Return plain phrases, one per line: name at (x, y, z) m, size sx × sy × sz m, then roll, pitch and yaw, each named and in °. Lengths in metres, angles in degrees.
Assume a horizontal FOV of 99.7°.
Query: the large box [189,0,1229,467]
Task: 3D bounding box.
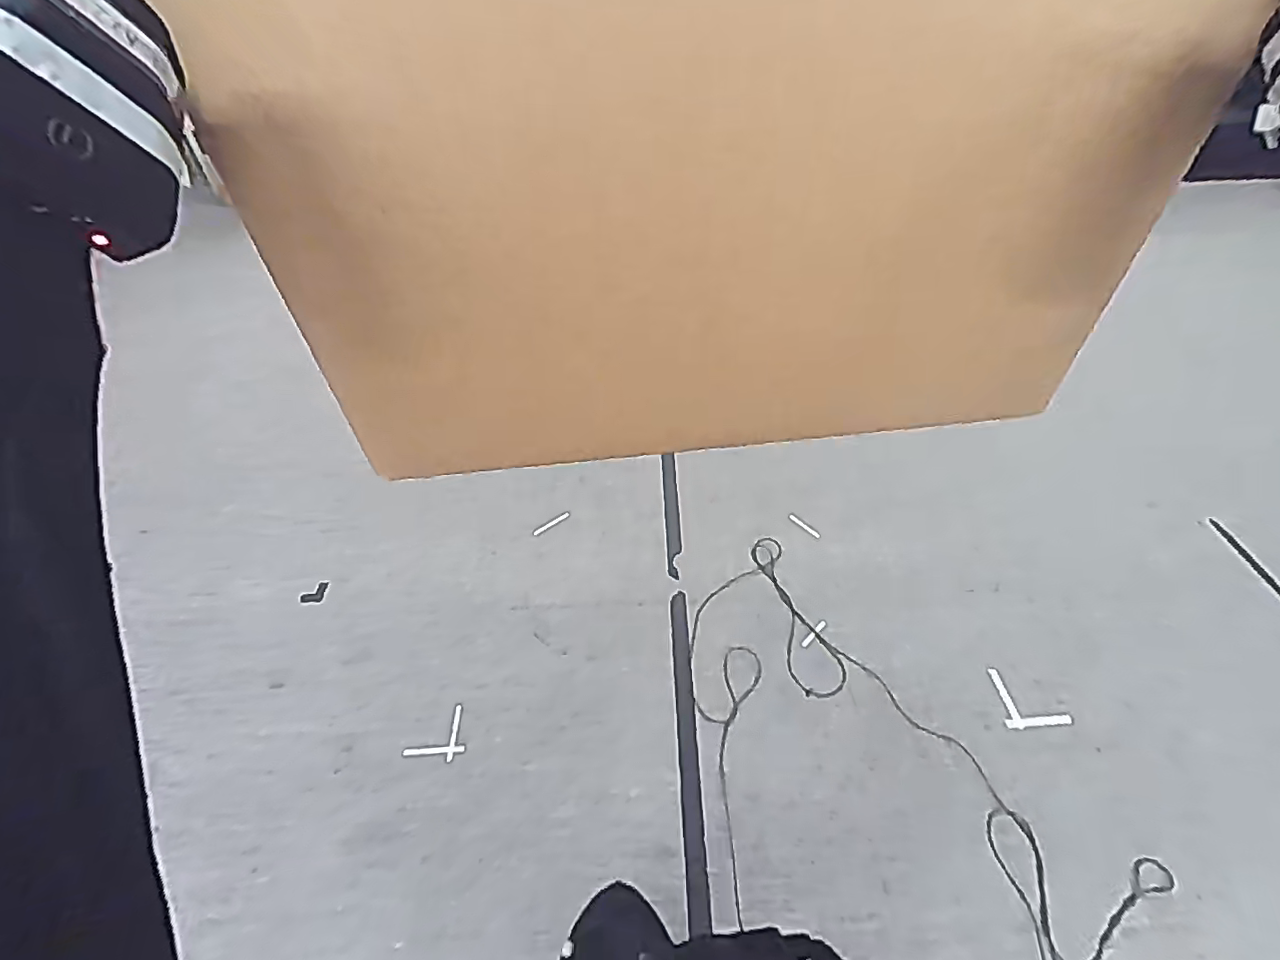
large box at (0.025, -0.235, 0.342) m, size 0.408 × 0.320 × 0.320 m, roll -6°, pitch 44°, yaw -4°
